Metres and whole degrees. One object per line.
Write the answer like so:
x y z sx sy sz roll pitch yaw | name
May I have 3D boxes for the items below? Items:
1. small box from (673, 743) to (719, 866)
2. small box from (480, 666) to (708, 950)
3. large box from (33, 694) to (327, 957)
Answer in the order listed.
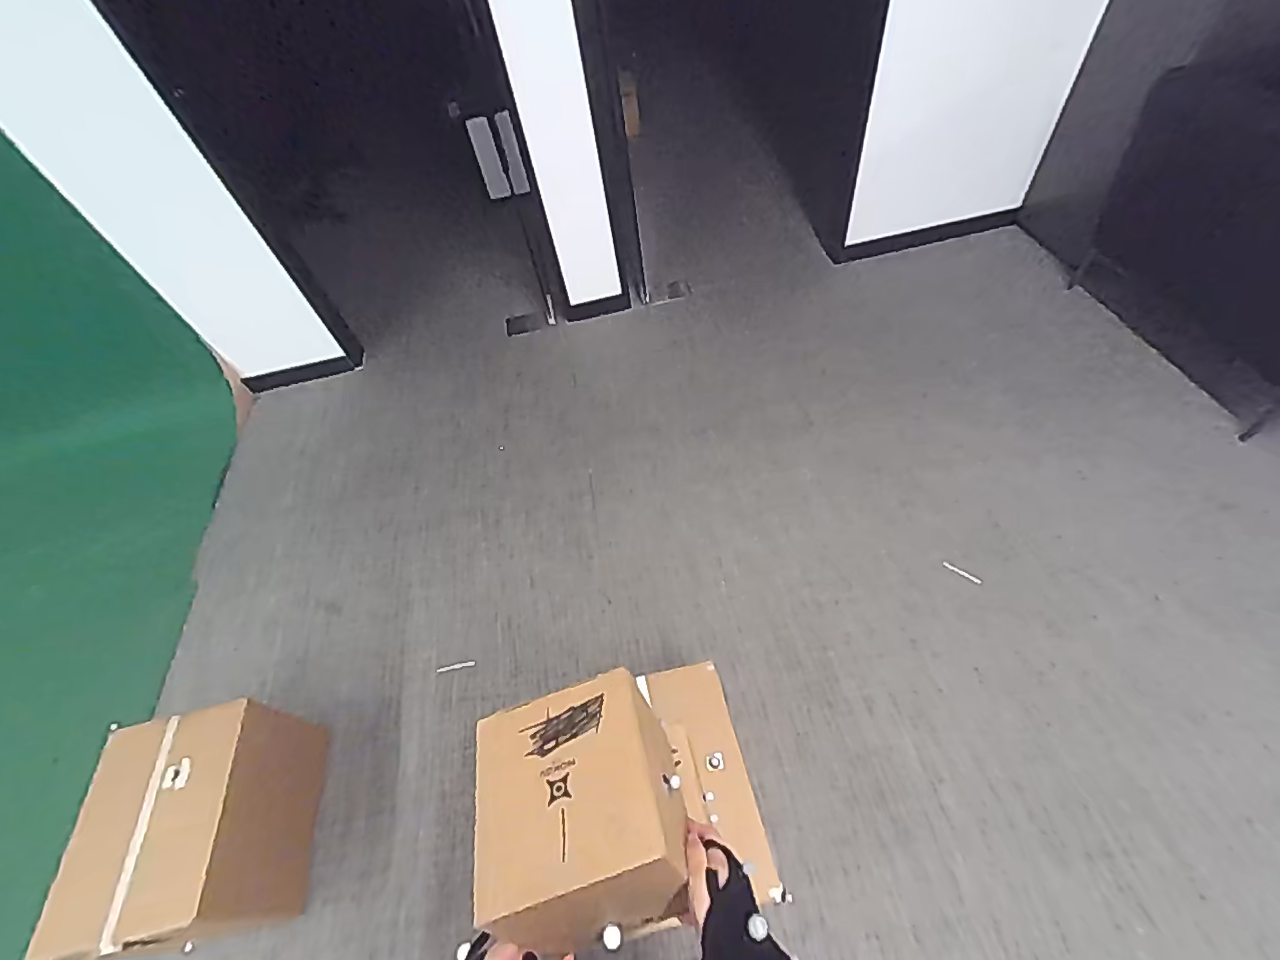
0.025 0.555 0.892 0.179 0.176 0.168 -16 53 -1 | small box
-0.045 0.328 0.545 0.168 0.176 0.179 -21 40 1 | small box
-0.956 0.752 1.200 0.320 0.320 0.408 -13 52 -1 | large box
